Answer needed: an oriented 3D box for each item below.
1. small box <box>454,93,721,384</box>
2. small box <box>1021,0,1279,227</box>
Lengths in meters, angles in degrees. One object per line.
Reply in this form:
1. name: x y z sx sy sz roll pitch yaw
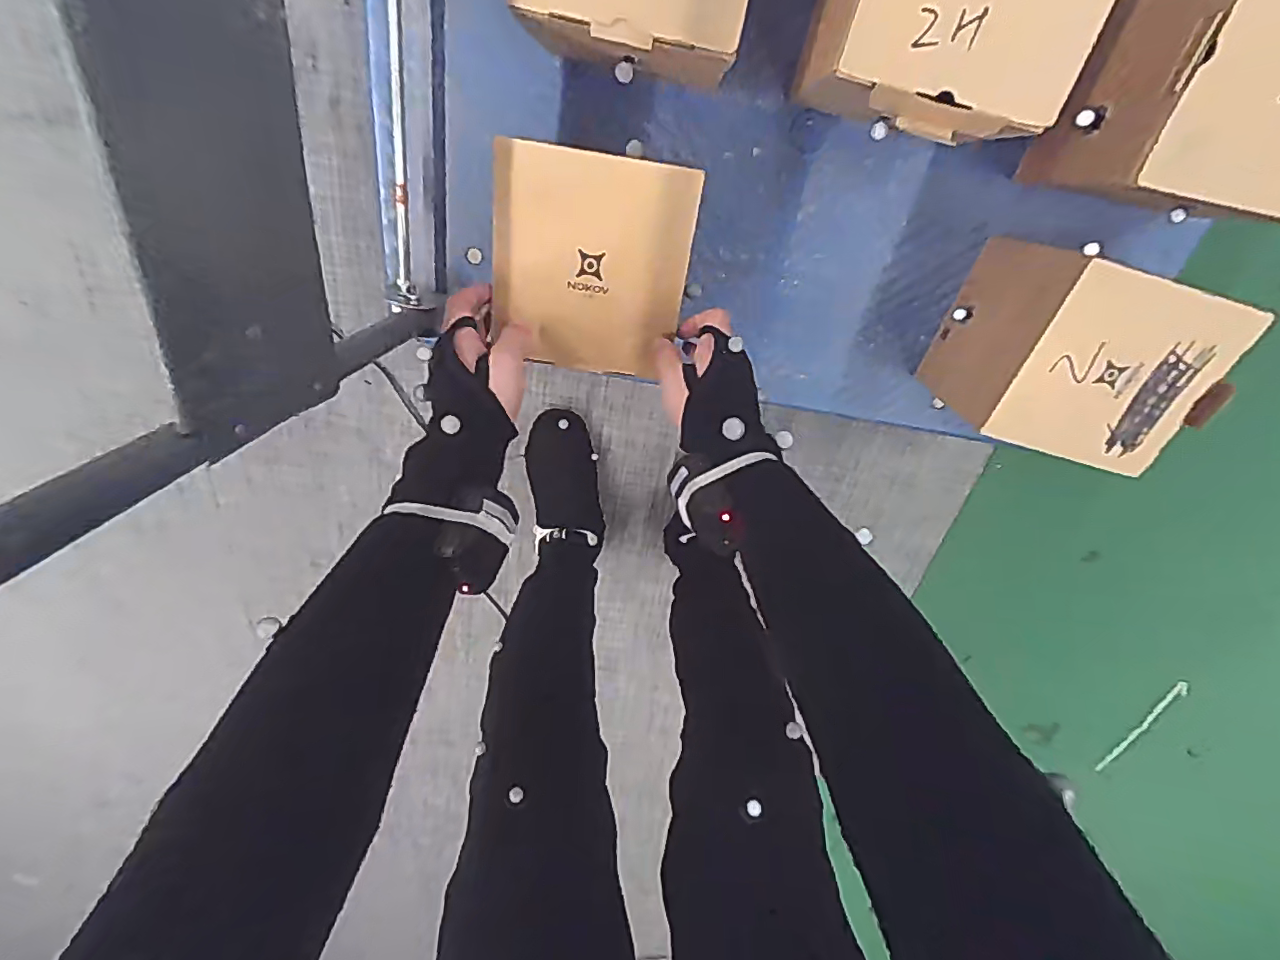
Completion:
1. small box: -0.043 -0.231 0.534 0.179 0.176 0.168 38 116 -16
2. small box: 0.477 -0.319 0.453 0.179 0.176 0.168 11 120 -3
